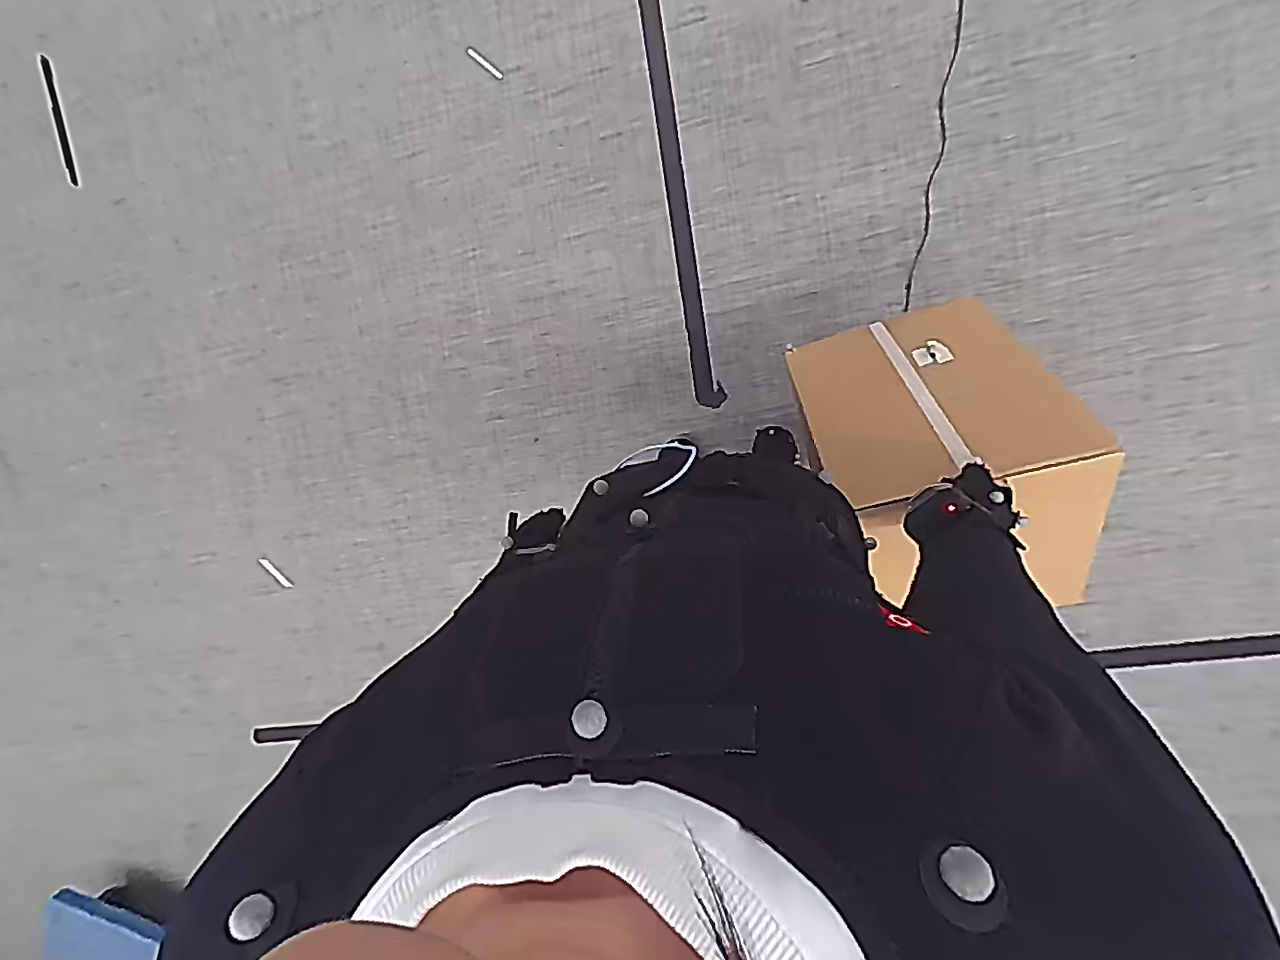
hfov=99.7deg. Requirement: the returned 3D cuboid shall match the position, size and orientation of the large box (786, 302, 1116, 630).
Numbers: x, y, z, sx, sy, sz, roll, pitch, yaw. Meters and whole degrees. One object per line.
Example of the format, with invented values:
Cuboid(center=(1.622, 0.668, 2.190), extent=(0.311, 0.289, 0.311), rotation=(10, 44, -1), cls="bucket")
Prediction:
Cuboid(center=(0.461, -0.026, 0.893), extent=(0.320, 0.408, 0.320), rotation=(-14, 130, 13), cls="large box")
